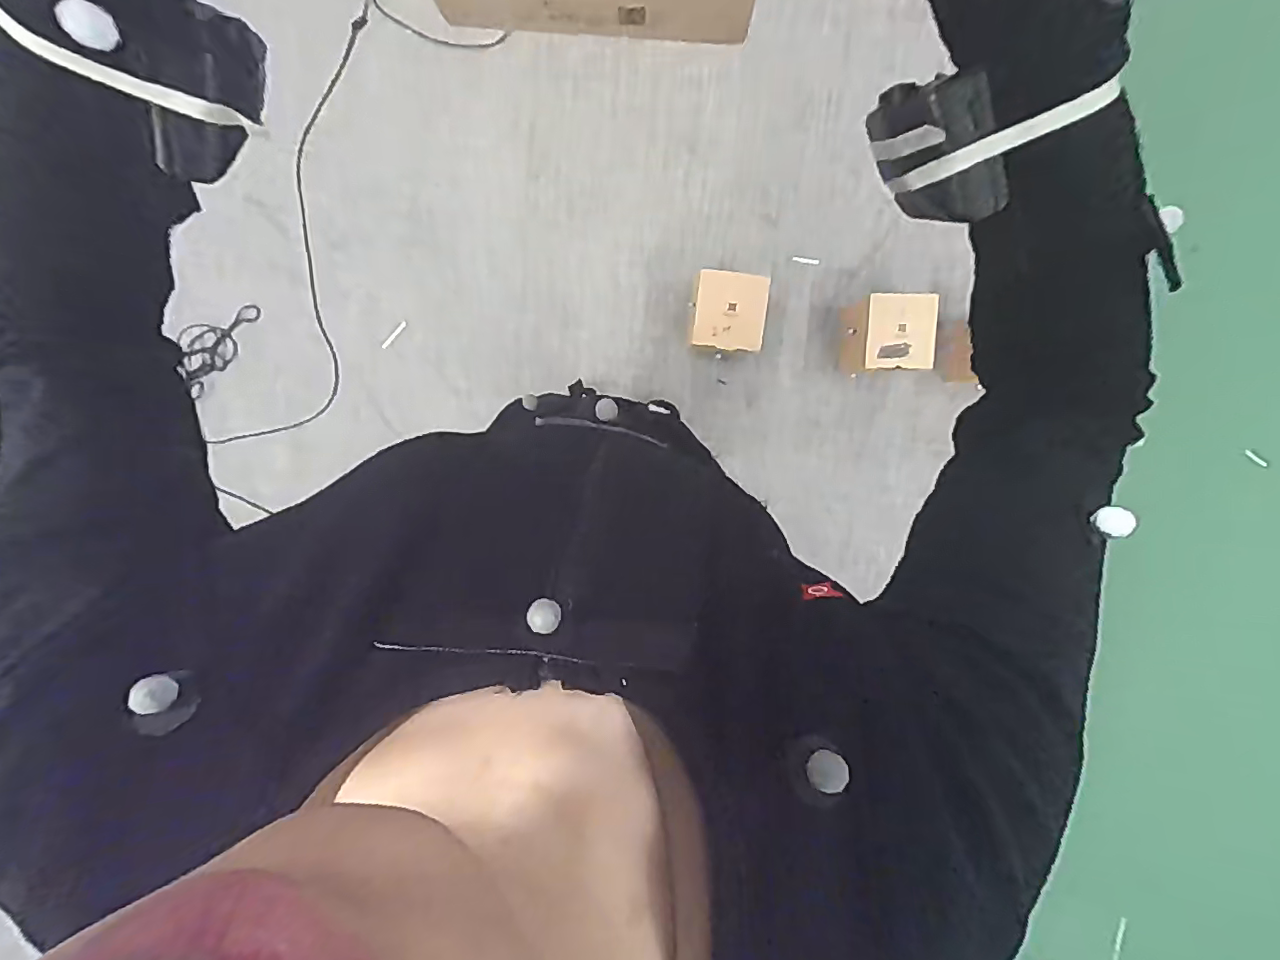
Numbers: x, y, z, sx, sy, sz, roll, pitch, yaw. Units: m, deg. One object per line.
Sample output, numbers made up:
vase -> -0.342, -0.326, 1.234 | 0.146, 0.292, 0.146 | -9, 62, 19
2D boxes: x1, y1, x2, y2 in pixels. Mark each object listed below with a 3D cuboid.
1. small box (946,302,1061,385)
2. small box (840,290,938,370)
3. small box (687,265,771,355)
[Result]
small box -> 0.902, -0.335, 1.358 | 0.168, 0.176, 0.179 | 5, 99, -1
small box -> 0.611, -0.367, 1.348 | 0.168, 0.176, 0.179 | 1, 98, -1
small box -> 0.211, -0.412, 1.333 | 0.168, 0.176, 0.179 | 6, 99, -1
